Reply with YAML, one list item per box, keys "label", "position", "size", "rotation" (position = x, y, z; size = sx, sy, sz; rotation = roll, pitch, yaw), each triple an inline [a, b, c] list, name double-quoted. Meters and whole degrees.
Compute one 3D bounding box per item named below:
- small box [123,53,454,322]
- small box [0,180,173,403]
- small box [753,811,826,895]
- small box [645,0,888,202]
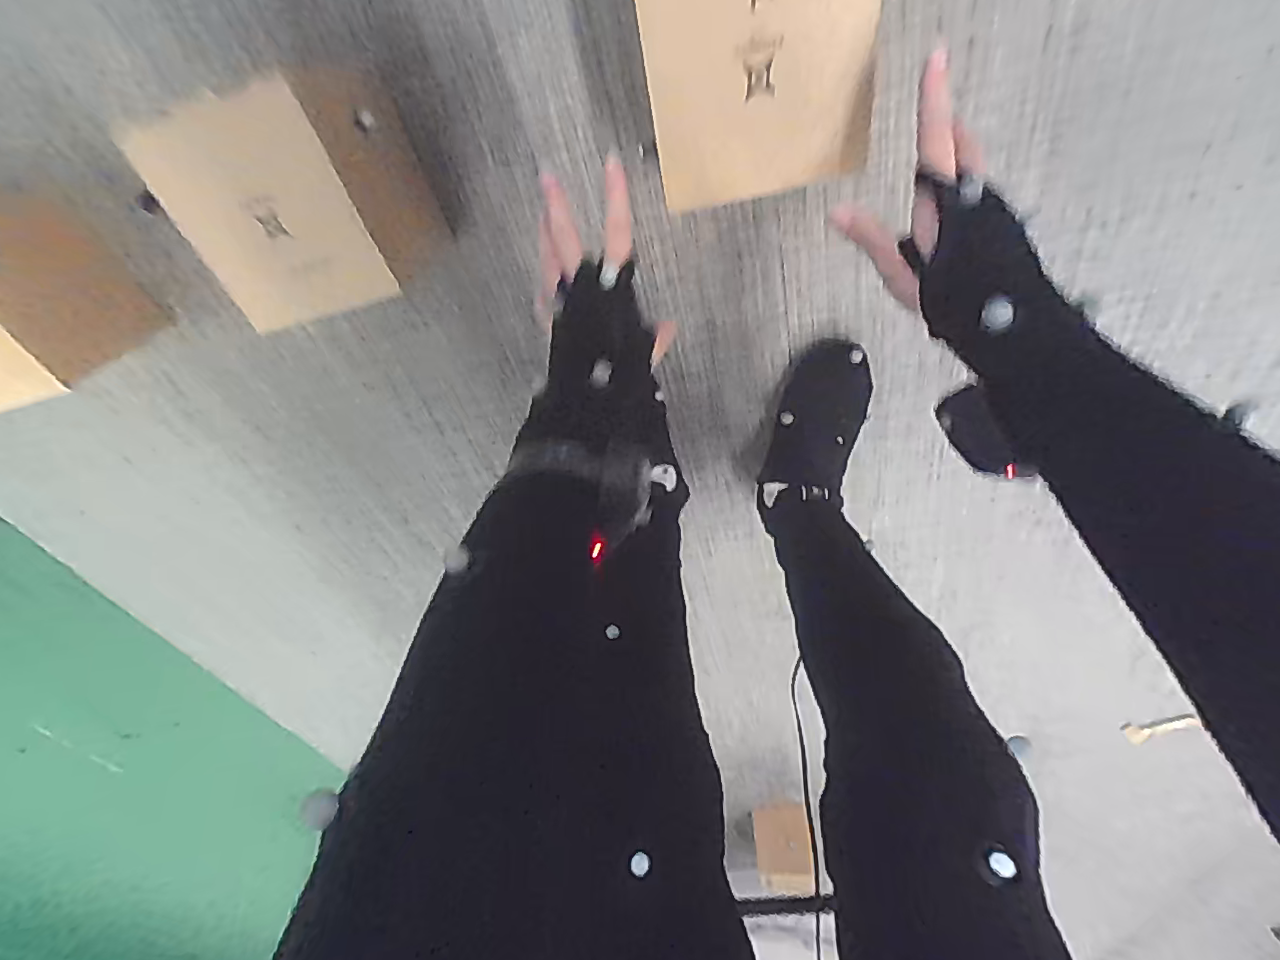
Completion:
- label: "small box"
  position: [-0.311, -0.284, 0.527]
  size: [0.168, 0.176, 0.179]
  rotation: [-11, 127, 11]
- label: "small box"
  position: [-0.696, -0.206, 0.602]
  size: [0.168, 0.176, 0.179]
  rotation: [-11, 126, 11]
- label: "small box"
  position: [0.440, 1.101, 1.600]
  size: [0.179, 0.176, 0.168]
  rotation: [-9, 128, 9]
- label: "small box"
  position: [0.094, -0.358, 0.450]
  size: [0.168, 0.176, 0.179]
  rotation: [-8, 128, 8]
